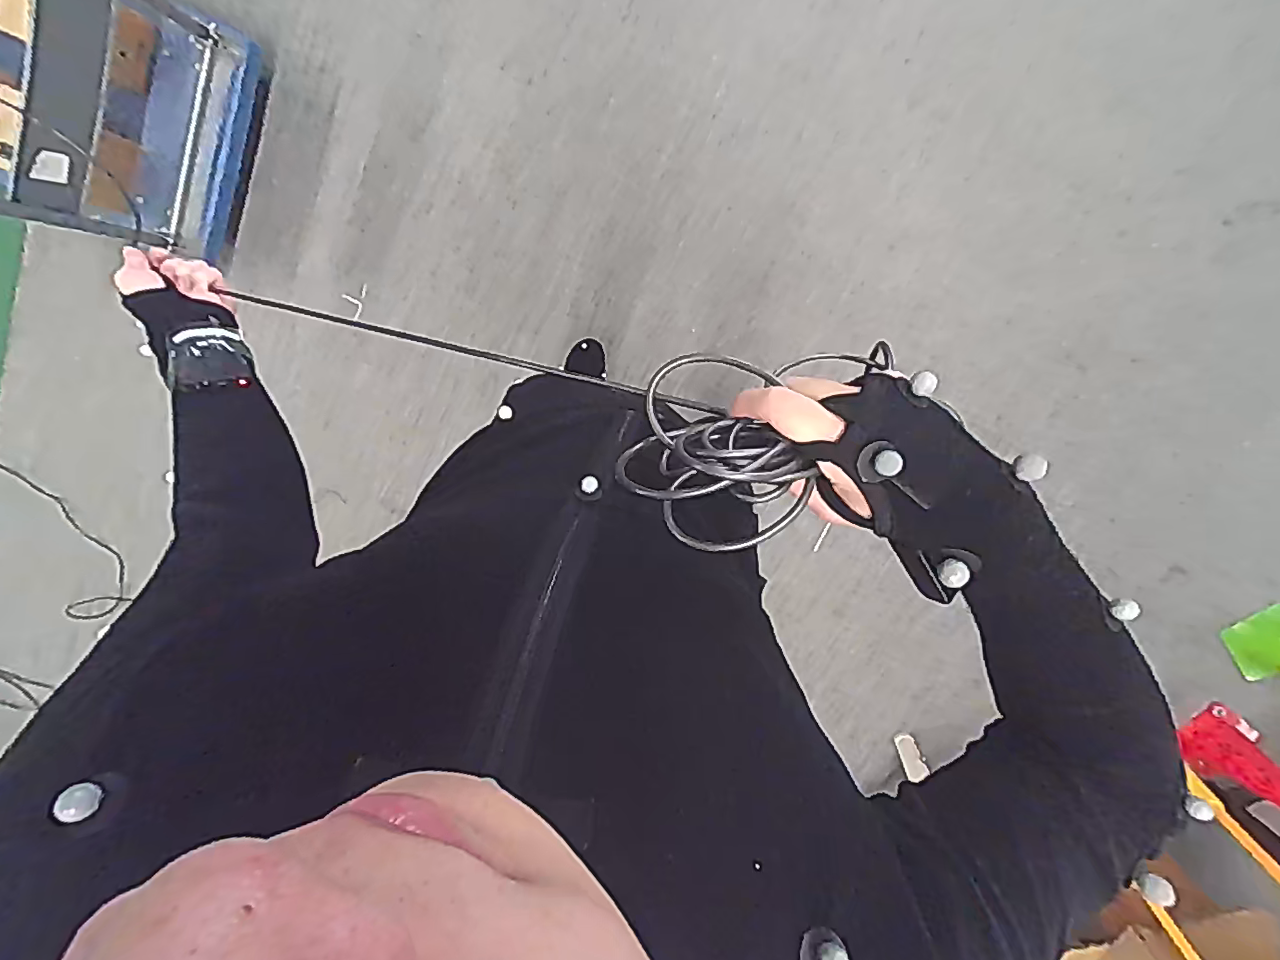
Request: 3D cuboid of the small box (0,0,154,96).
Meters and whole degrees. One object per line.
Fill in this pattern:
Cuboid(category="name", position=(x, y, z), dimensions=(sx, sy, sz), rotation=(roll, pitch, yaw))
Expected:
Cuboid(category="small box", position=(-1.259, -1.006, 1.207), dimensions=(0.179, 0.176, 0.168), rotation=(25, 103, -3))

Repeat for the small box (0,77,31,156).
Cuboid(category="small box", position=(-1.590, -0.886, 1.255), dimensions=(0.179, 0.176, 0.168), rotation=(20, 103, -1))
